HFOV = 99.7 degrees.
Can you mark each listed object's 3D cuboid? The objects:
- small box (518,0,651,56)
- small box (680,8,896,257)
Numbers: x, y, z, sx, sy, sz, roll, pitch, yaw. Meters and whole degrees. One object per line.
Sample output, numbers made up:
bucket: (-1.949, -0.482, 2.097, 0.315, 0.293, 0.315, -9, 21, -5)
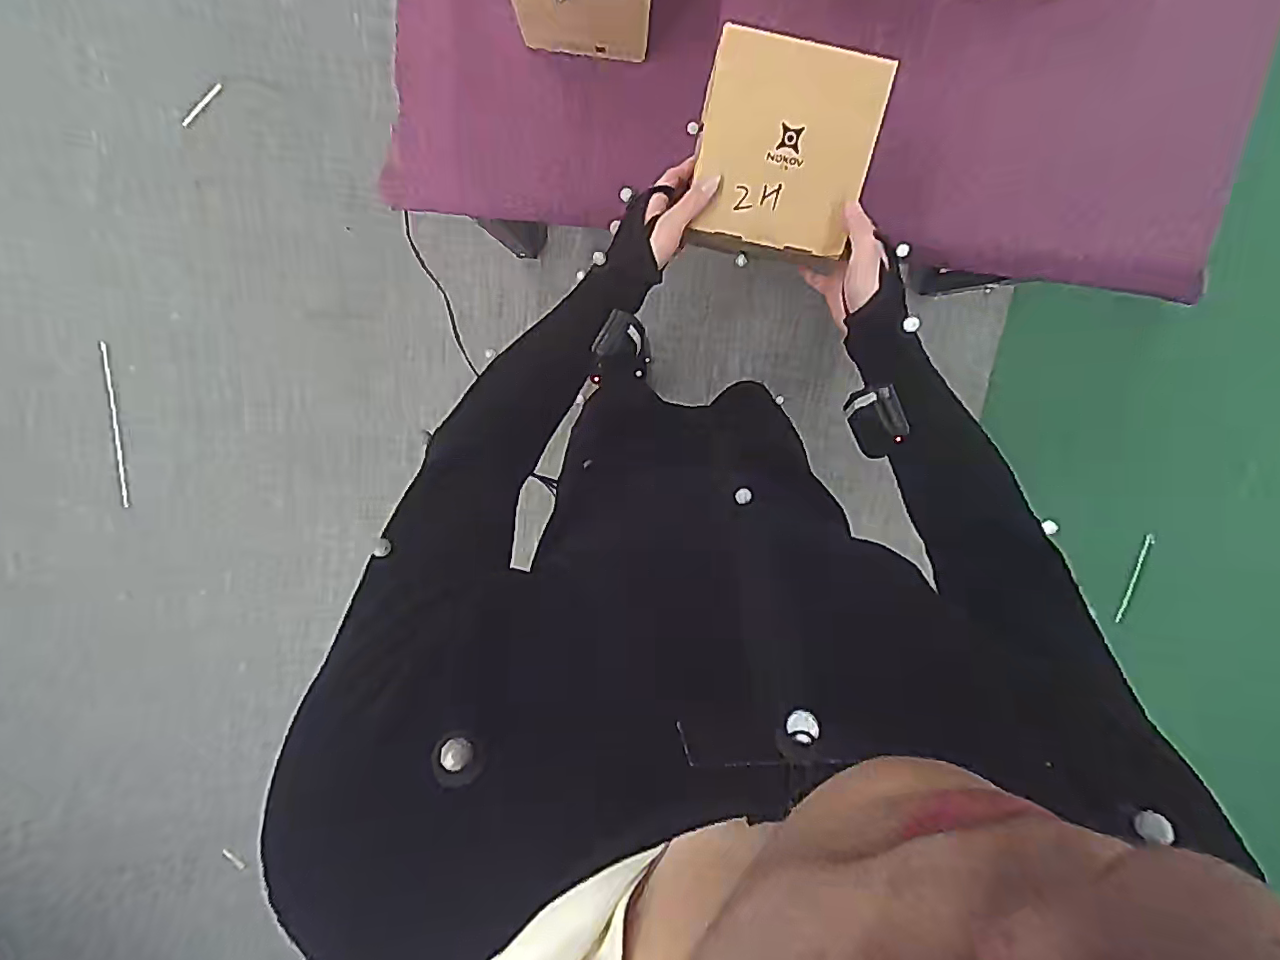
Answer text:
small box: (-0.063, -0.649, 0.632, 0.168, 0.176, 0.179, 6, 104, -2)
small box: (0.142, -0.358, 0.596, 0.168, 0.176, 0.179, 11, 109, -3)
